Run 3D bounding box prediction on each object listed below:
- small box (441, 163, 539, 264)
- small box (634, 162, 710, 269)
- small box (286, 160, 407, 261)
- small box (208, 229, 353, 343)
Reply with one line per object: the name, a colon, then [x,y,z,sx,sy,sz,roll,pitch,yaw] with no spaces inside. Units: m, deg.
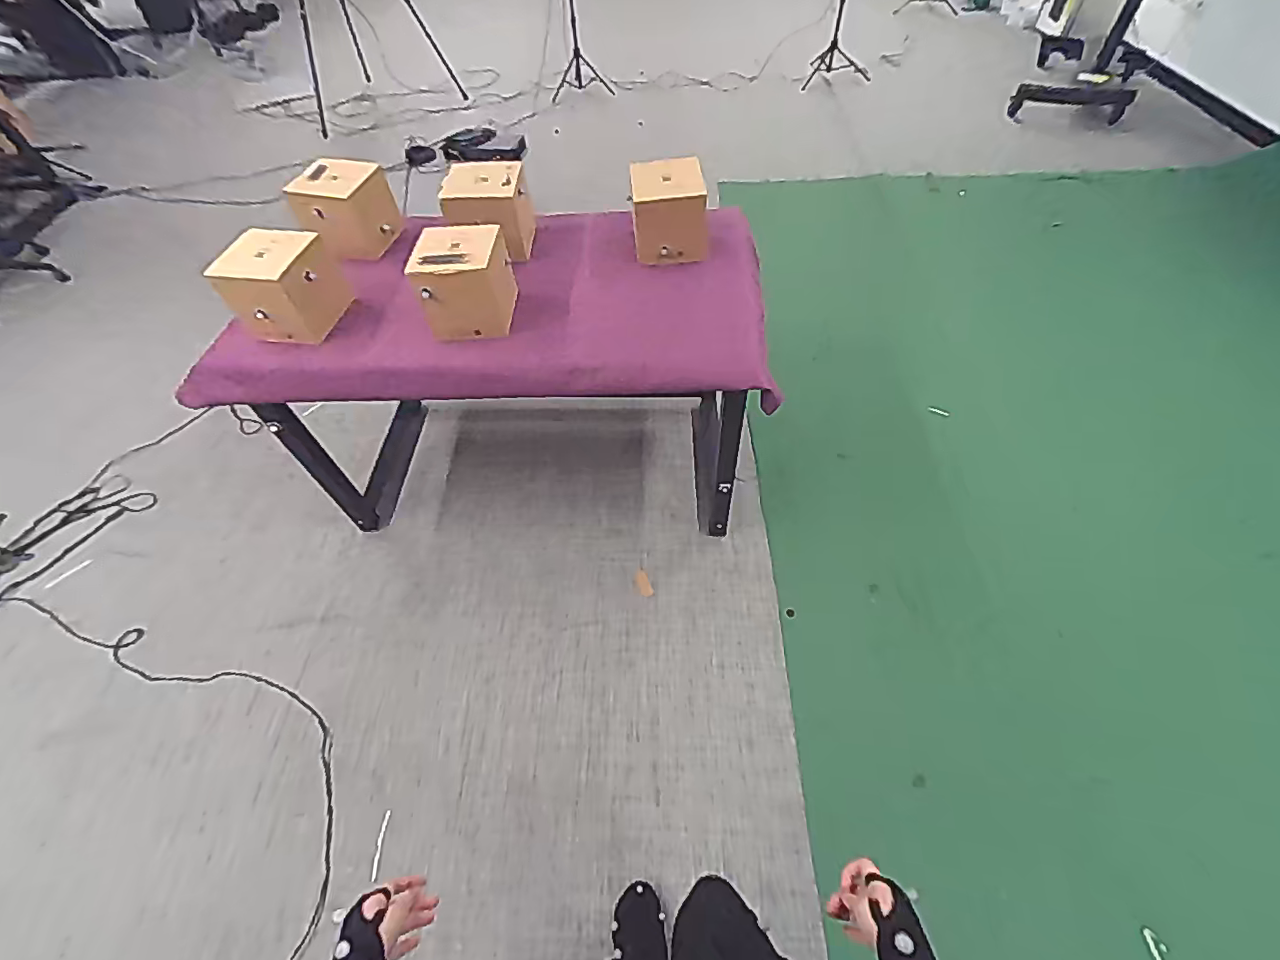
small box: [-0.360,-0.650,1.330,0.179,0.176,0.168,-1,56,3]
small box: [0.072,-0.634,1.300,0.168,0.176,0.179,-5,55,1]
small box: [-0.728,-0.677,1.363,0.179,0.176,0.168,11,57,8]
small box: [-0.766,-0.419,1.178,0.168,0.176,0.179,7,54,7]
